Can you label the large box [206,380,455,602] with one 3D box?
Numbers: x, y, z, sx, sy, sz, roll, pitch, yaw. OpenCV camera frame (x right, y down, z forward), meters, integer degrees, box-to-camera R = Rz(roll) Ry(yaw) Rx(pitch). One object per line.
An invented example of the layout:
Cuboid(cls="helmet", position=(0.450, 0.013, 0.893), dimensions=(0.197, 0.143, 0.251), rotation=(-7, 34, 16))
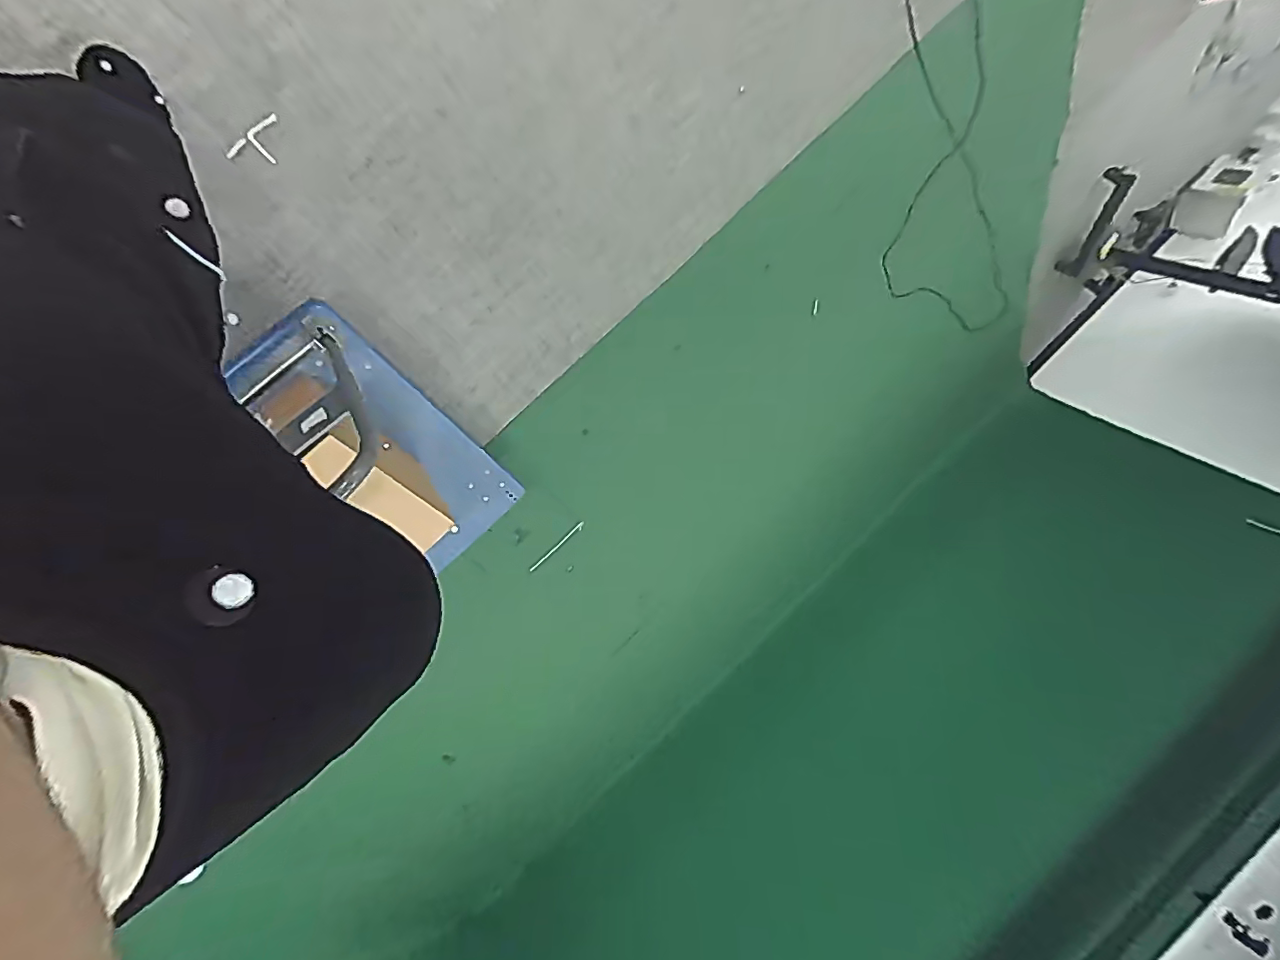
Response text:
Cuboid(cls="large box", position=(-0.751, 0.032, 1.333), dimensions=(0.320, 0.320, 0.408), rotation=(-42, 140, -5))
